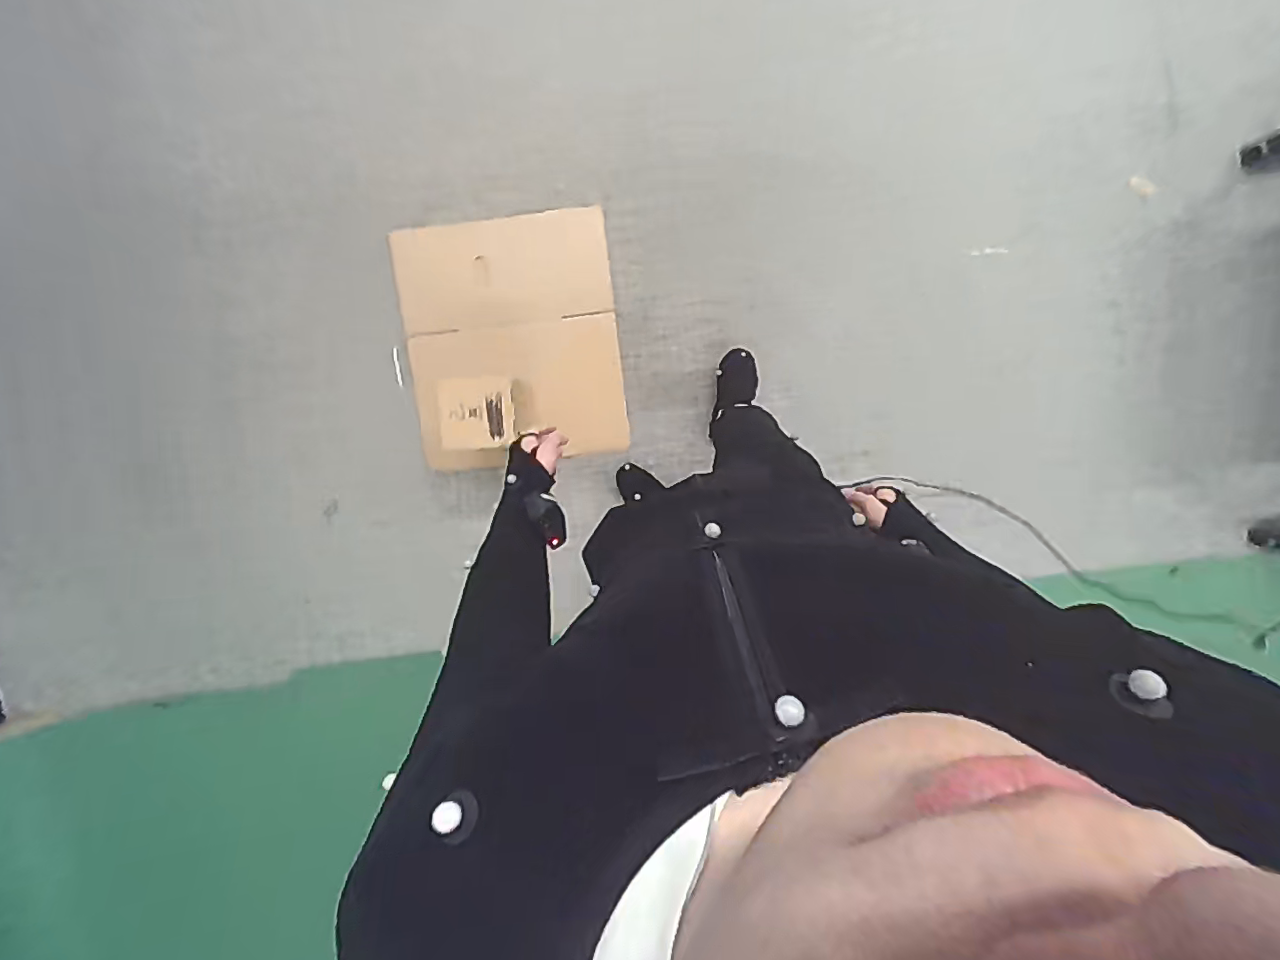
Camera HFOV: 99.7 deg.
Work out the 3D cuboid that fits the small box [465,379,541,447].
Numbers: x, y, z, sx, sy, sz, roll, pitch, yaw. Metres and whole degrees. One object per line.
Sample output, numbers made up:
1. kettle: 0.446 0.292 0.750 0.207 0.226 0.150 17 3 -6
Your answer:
1. small box: -0.377 -0.189 1.513 0.168 0.176 0.179 -3 96 0
